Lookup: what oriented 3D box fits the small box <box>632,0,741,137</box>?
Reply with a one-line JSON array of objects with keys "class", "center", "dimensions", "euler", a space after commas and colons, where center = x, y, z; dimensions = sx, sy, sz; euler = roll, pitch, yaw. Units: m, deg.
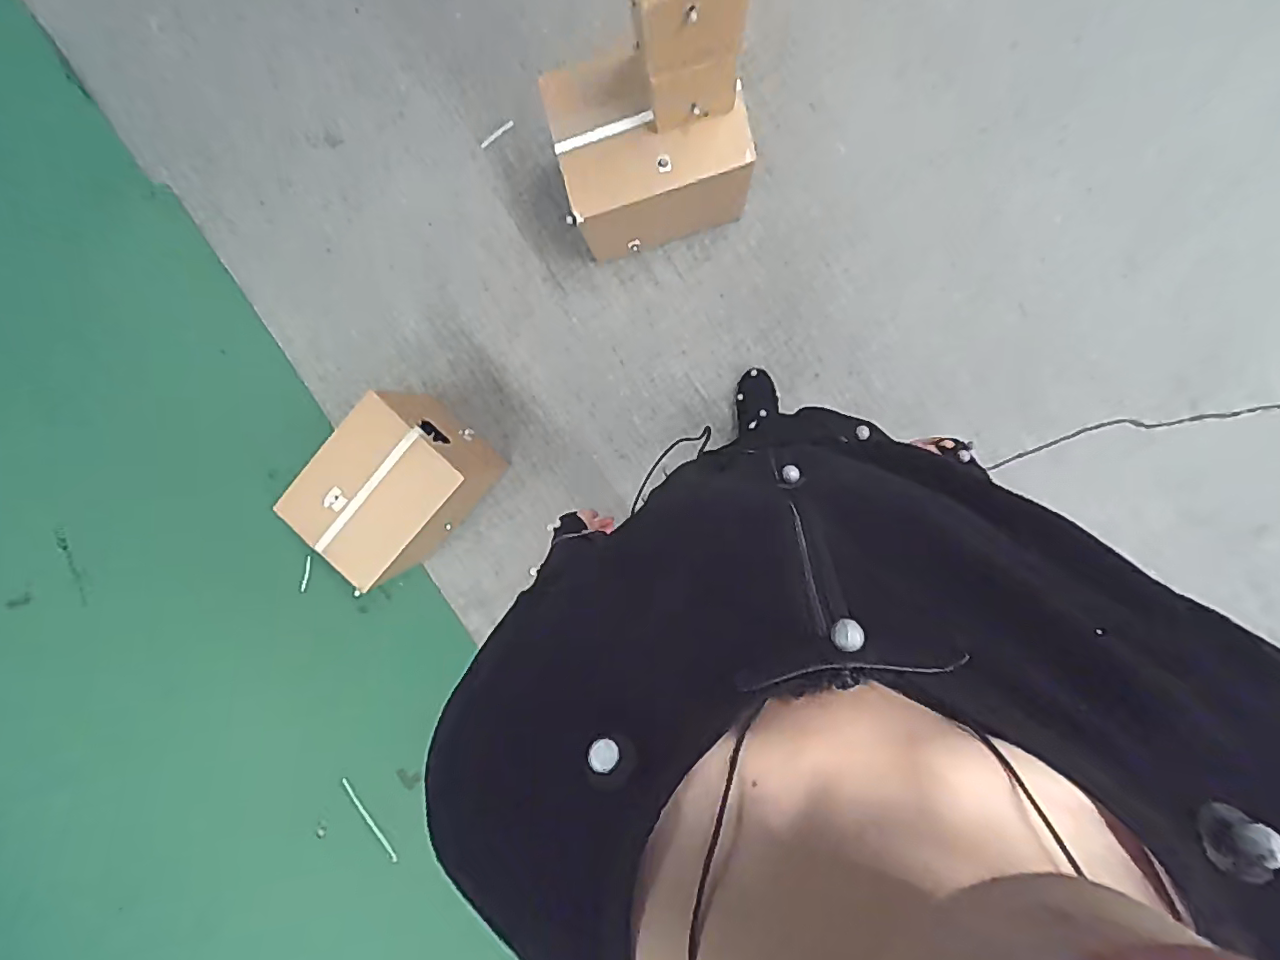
[{"class": "small box", "center": [0.088, -0.808, 1.033], "dimensions": [0.168, 0.176, 0.179], "euler": [-14, 92, 8]}]

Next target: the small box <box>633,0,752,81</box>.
[{"class": "small box", "center": [0.078, -0.798, 0.872], "dimensions": [0.179, 0.176, 0.168], "euler": [-12, 93, 8]}]

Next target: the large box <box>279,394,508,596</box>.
[{"class": "large box", "center": [-0.628, 0.022, 1.437], "dimensions": [0.320, 0.320, 0.408], "euler": [44, 99, 1]}]
